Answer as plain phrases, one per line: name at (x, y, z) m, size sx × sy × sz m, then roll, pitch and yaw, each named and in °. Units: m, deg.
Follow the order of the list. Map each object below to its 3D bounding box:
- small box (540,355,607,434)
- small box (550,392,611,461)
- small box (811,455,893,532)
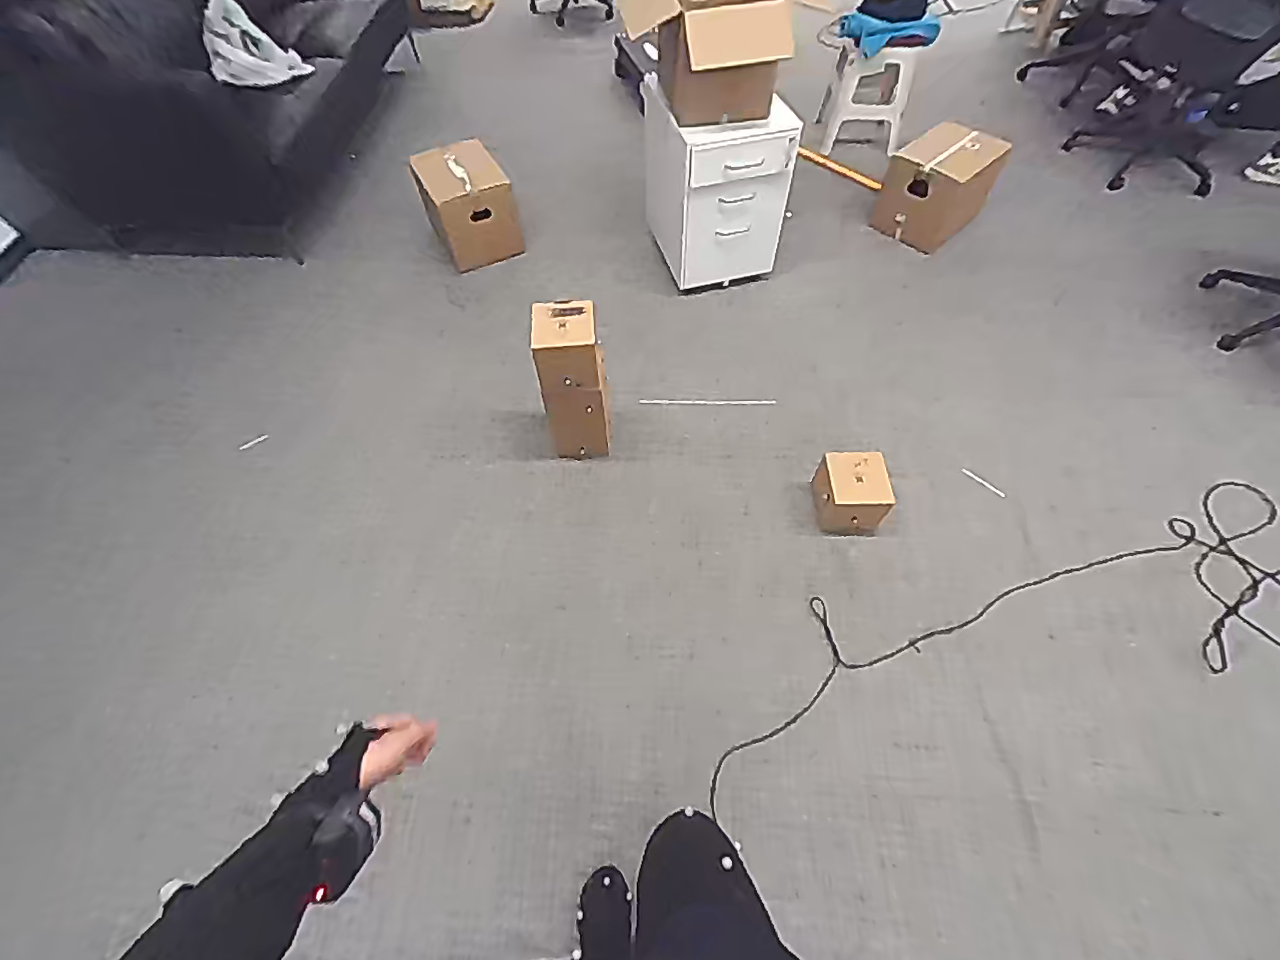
small box at (-0.194, -0.254, 1.631) m, size 0.179 × 0.176 × 0.168 m, roll -4°, pitch 55°, yaw 2°
small box at (-0.189, -0.174, 1.773) m, size 0.179 × 0.176 × 0.168 m, roll -1°, pitch 56°, yaw 1°
small box at (0.615, 0.044, 1.592) m, size 0.168 × 0.176 × 0.179 m, roll -1°, pitch 57°, yaw 1°
